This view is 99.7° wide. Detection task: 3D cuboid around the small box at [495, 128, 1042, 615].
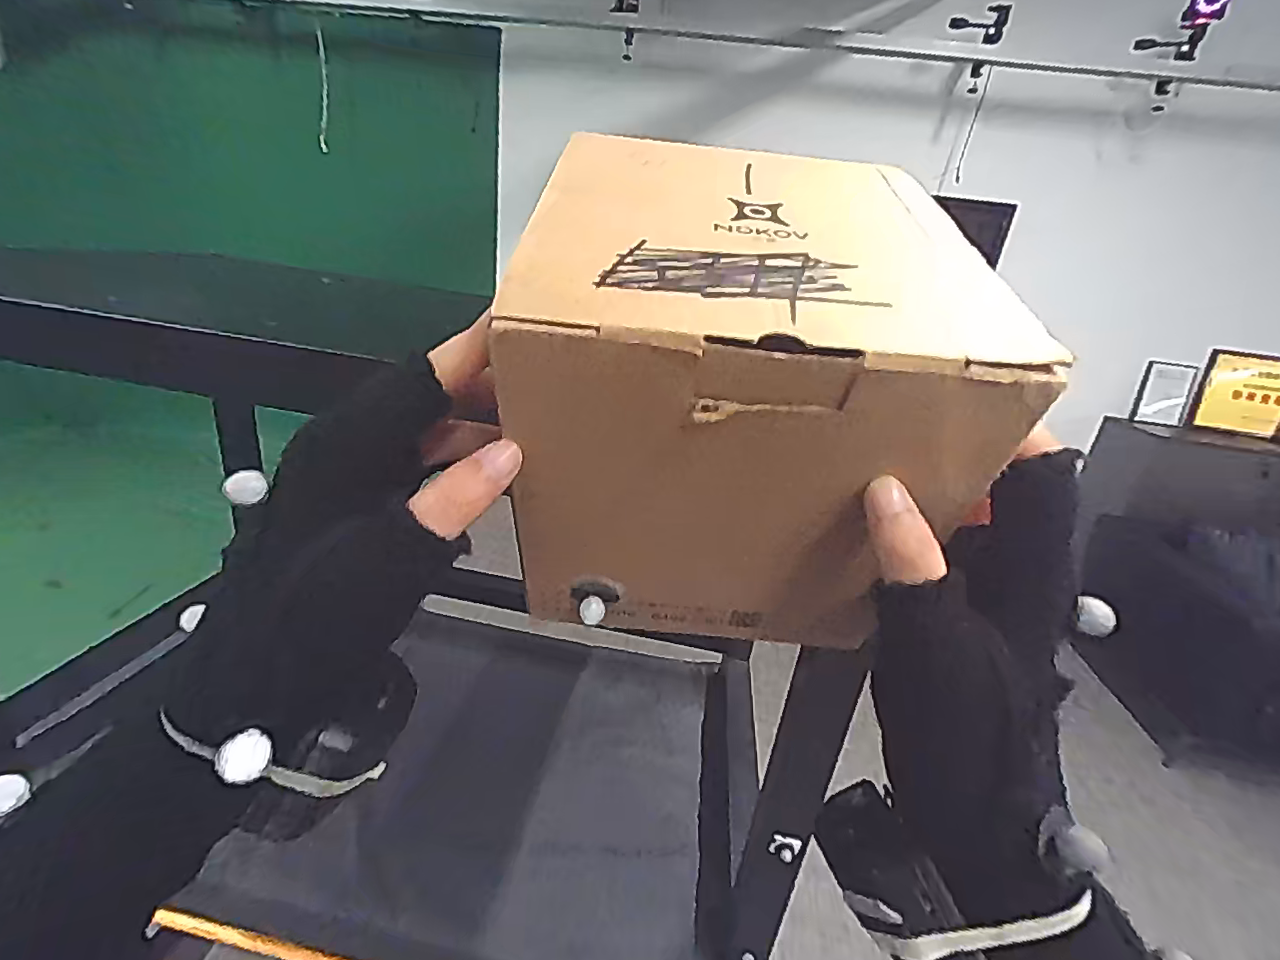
[{"bbox_3d":[0.038,-0.052,0.272,0.168,0.176,0.179,6,45,-1],"label":"small box"}]
